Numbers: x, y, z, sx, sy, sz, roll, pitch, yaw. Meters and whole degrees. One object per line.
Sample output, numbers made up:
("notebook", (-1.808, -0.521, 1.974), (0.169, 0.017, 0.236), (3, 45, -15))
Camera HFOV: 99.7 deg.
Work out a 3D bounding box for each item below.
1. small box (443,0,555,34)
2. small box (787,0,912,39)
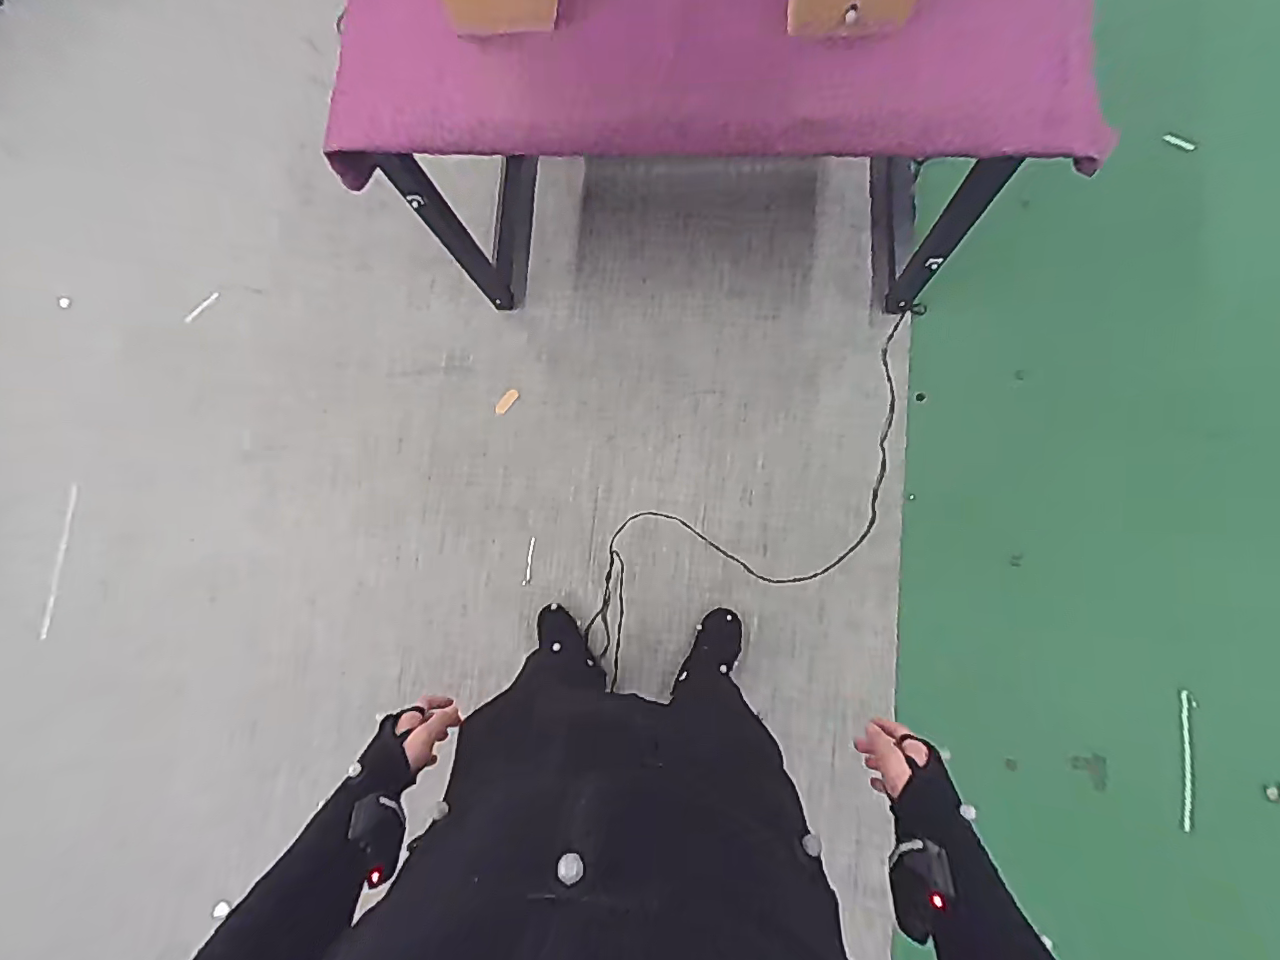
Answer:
("small box", (-0.229, -0.848, 0.851), (0.179, 0.176, 0.168), (4, 82, 7))
("small box", (0.317, -0.781, 0.777), (0.179, 0.176, 0.168), (3, 82, 7))
